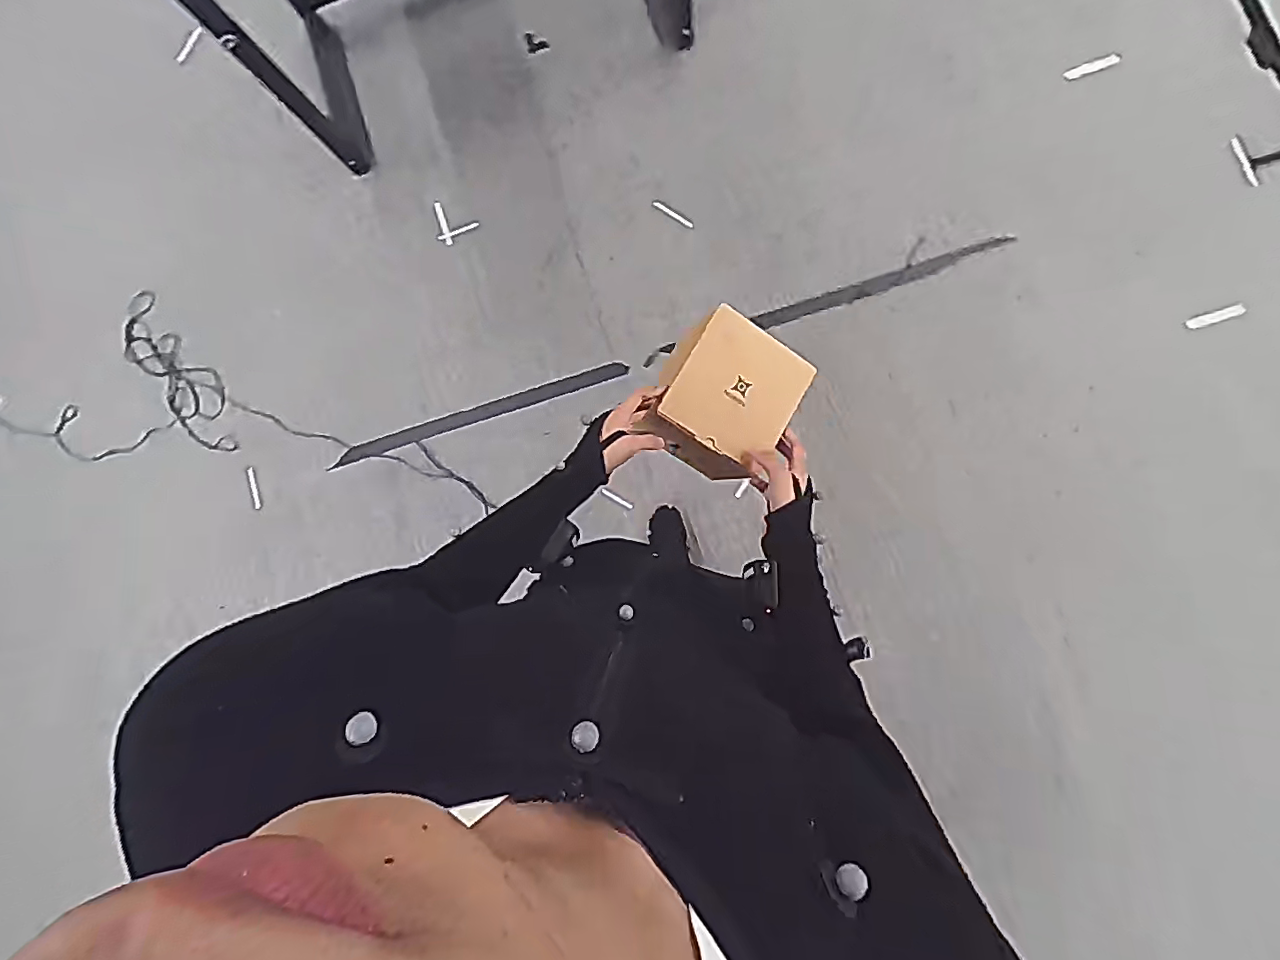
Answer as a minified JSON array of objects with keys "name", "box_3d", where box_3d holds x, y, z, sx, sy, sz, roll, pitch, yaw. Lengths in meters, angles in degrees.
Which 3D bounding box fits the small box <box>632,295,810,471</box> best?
[{"name":"small box","box_3d":[0.105,-0.127,0.784,0.168,0.176,0.179,30,83,-11]}]
